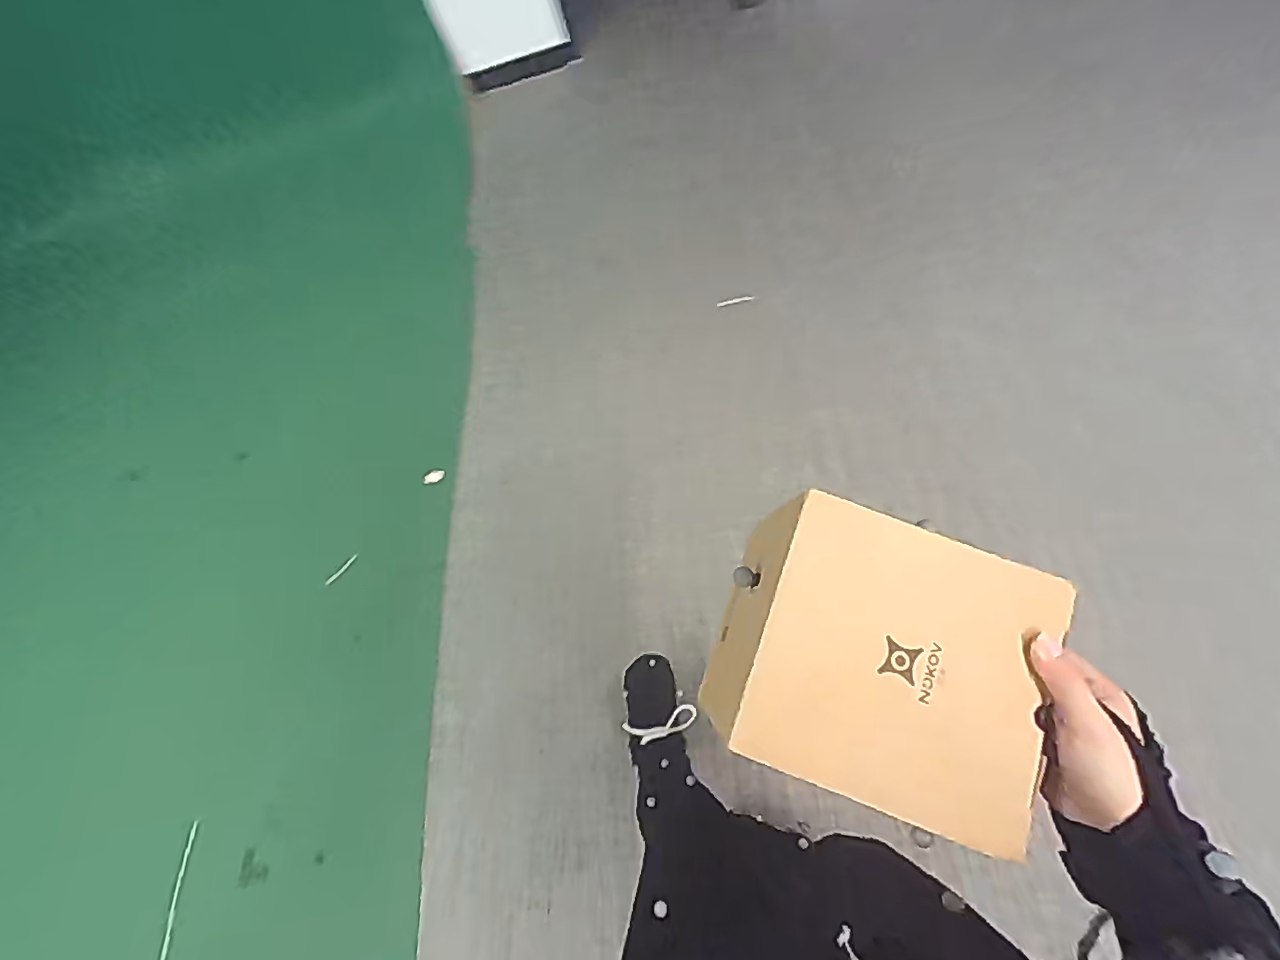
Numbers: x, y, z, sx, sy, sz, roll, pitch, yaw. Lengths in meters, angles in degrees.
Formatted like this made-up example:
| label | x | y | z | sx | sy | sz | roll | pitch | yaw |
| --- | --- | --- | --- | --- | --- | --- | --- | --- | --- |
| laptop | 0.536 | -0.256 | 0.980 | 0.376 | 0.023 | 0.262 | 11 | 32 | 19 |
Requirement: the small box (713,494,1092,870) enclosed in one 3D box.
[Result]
| label | x | y | z | sx | sy | sz | roll | pitch | yaw |
| --- | --- | --- | --- | --- | --- | --- | --- | --- | --- |
| small box | 0.166 | 0.130 | 0.398 | 0.179 | 0.176 | 0.168 | 22 | 78 | 4 |
